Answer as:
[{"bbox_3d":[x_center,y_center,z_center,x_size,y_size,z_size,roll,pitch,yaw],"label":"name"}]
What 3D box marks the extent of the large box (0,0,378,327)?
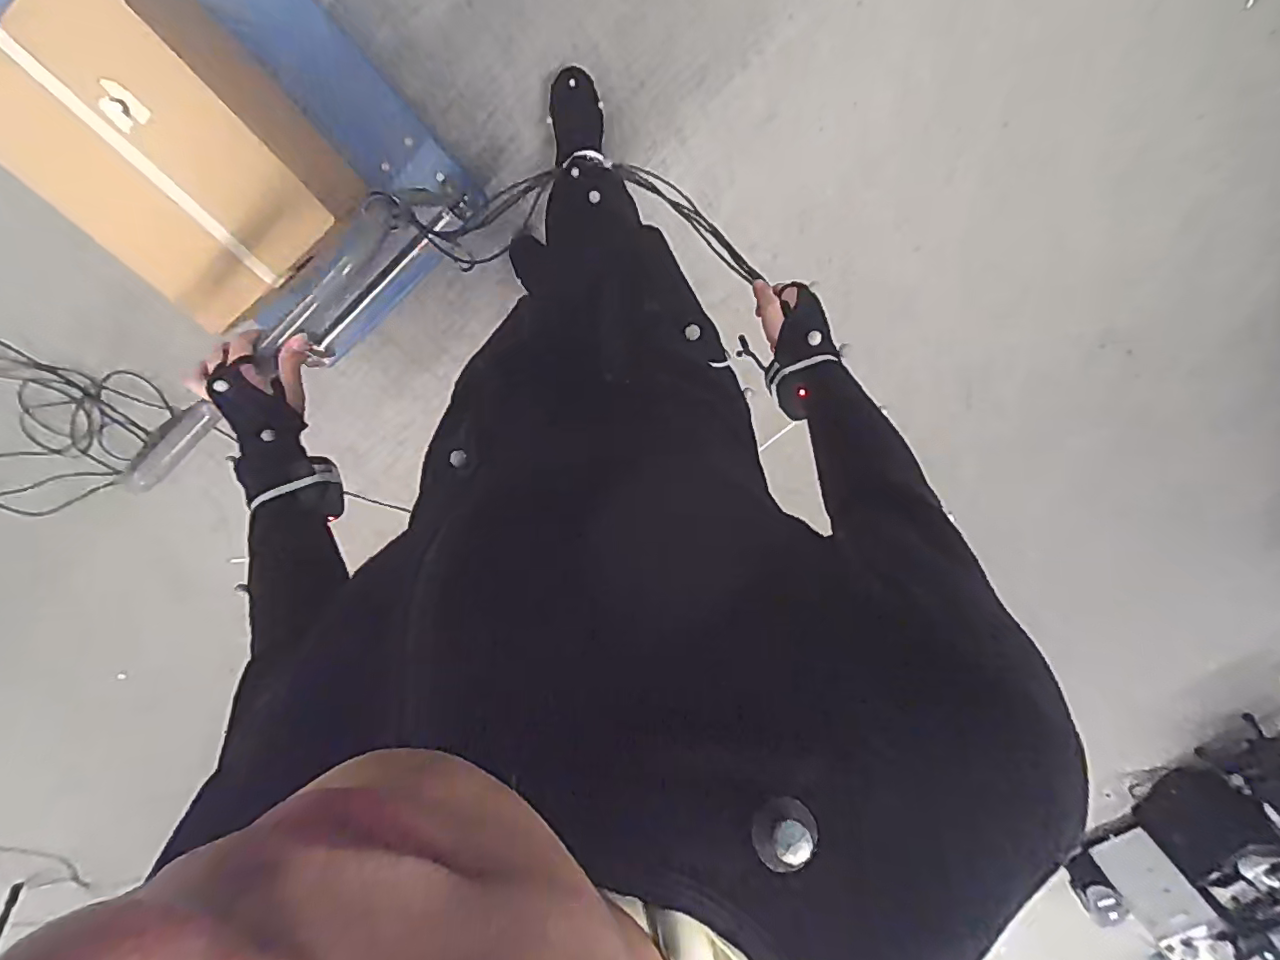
[{"bbox_3d":[-0.749,-0.547,0.925,0.320,0.320,0.408,-35,120,11],"label":"large box"}]
